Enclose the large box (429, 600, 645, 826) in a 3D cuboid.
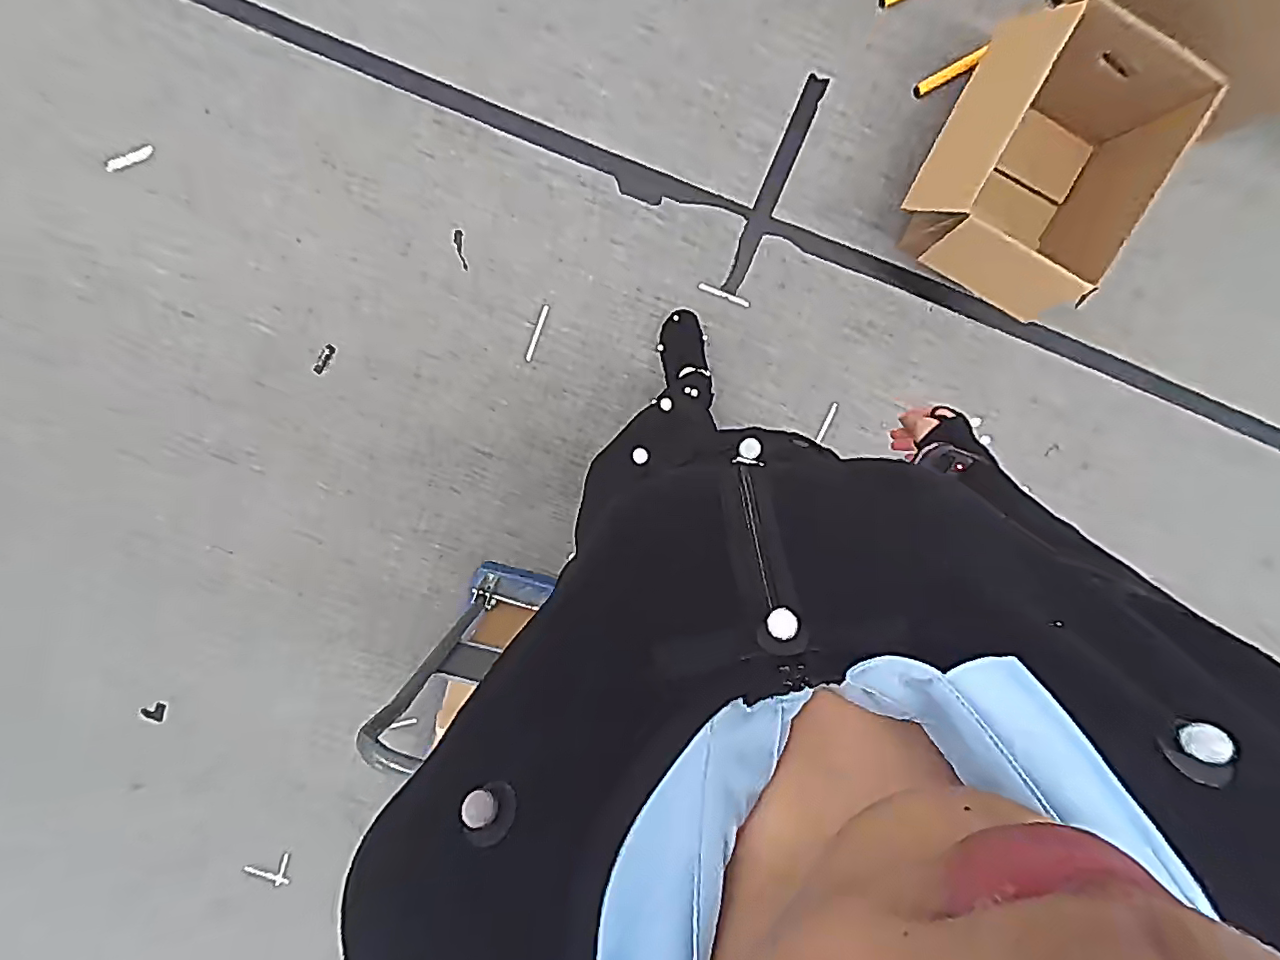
[{"bbox_3d":[-0.219,0.530,1.284,0.408,0.320,0.320,17,101,-2],"label":"large box"}]
